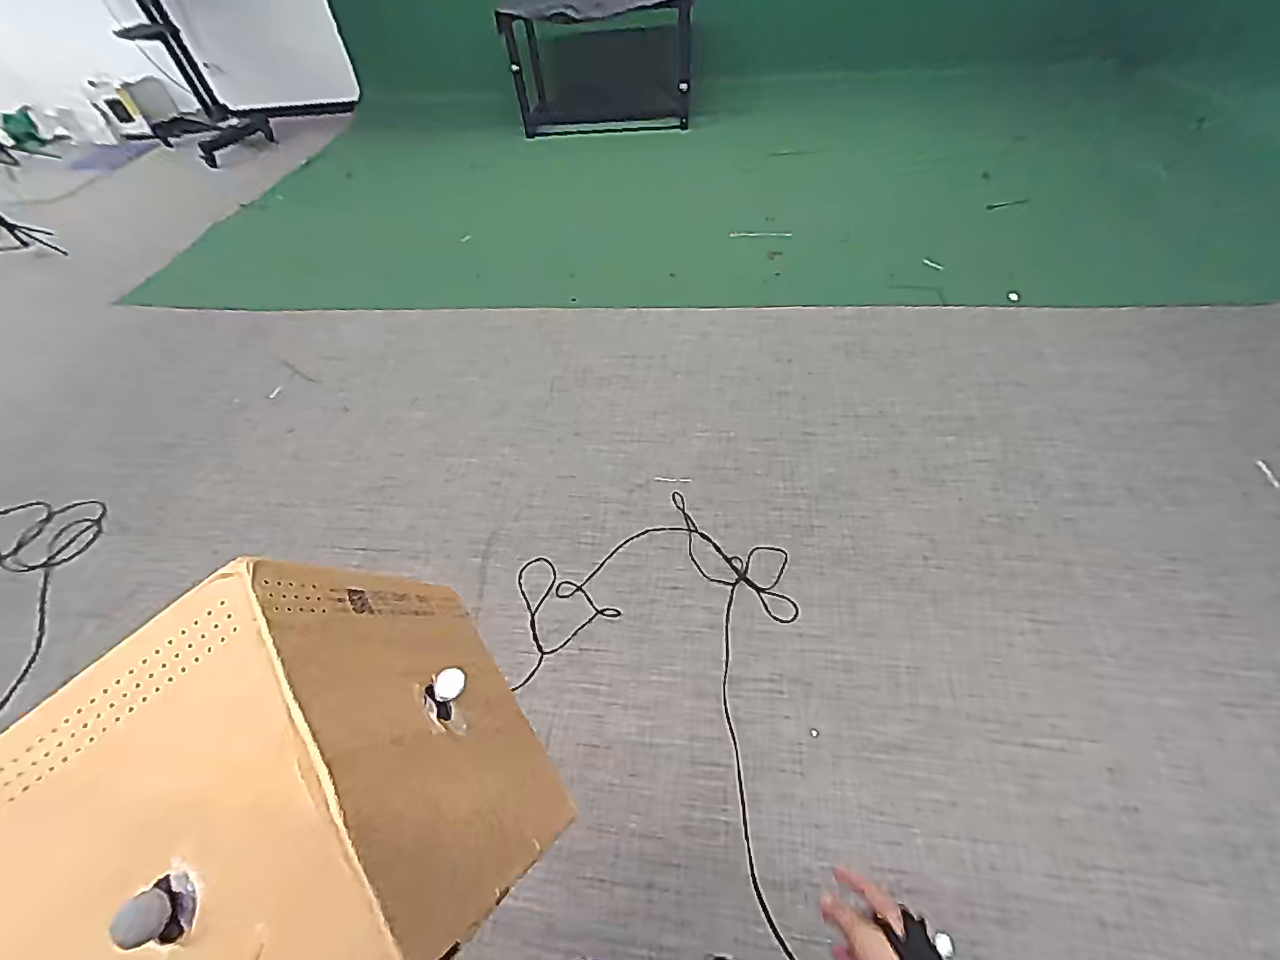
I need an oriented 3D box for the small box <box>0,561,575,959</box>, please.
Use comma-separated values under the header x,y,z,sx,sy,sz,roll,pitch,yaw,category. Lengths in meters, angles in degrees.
x,y,z,sx,sy,sz,roll,pitch,yaw,category
-0.167,0.162,0.279,0.179,0.168,0.176,-38,72,-1,small box
